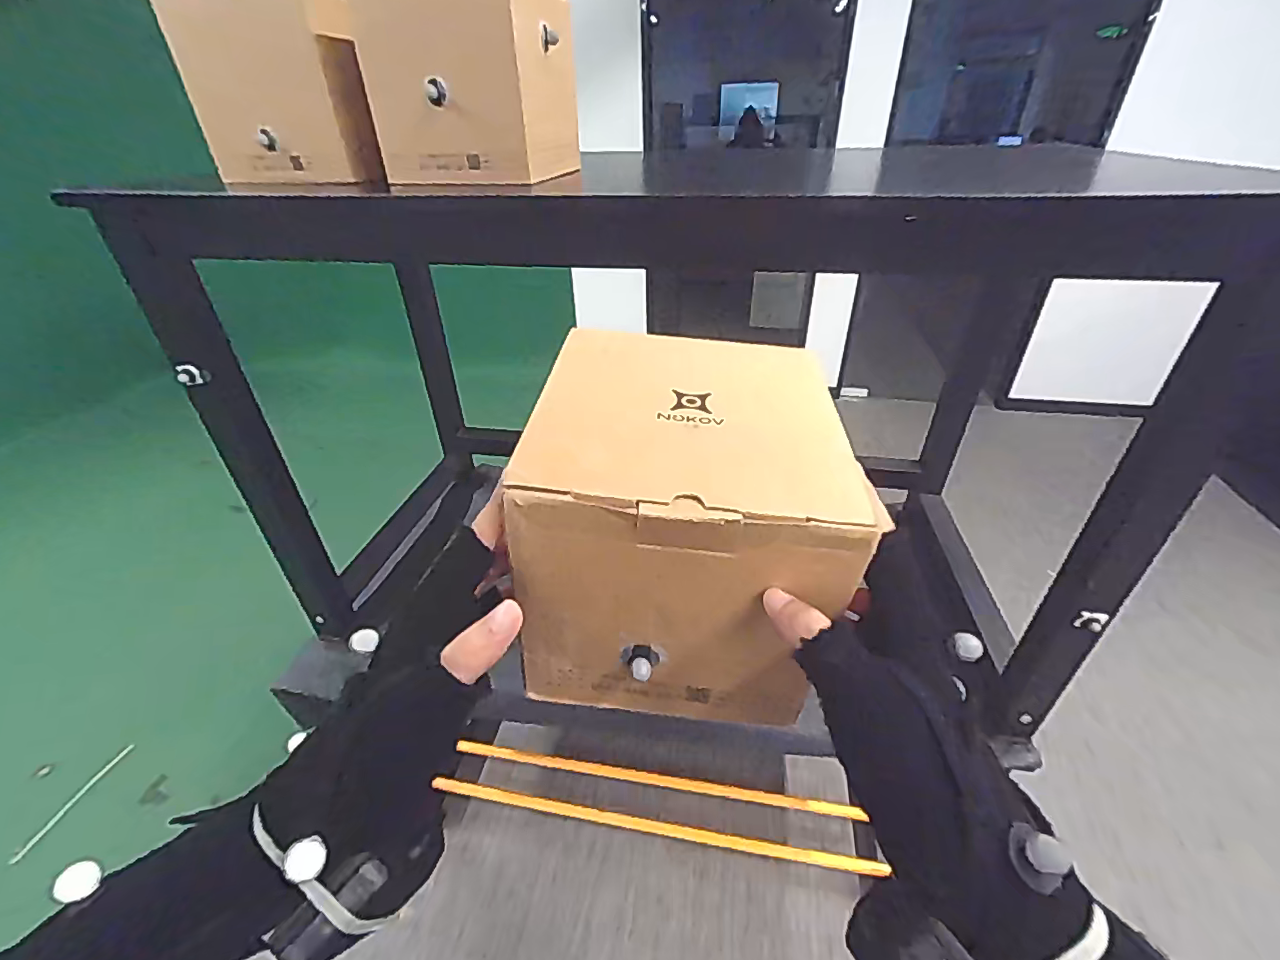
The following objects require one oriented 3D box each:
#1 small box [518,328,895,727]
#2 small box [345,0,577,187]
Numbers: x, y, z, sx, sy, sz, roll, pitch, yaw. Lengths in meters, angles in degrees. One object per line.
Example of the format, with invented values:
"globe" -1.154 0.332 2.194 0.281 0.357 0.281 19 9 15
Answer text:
"small box" 0.028 0.024 0.343 0.168 0.176 0.179 6 39 1
"small box" -0.170 -0.419 0.583 0.168 0.176 0.179 6 35 10
